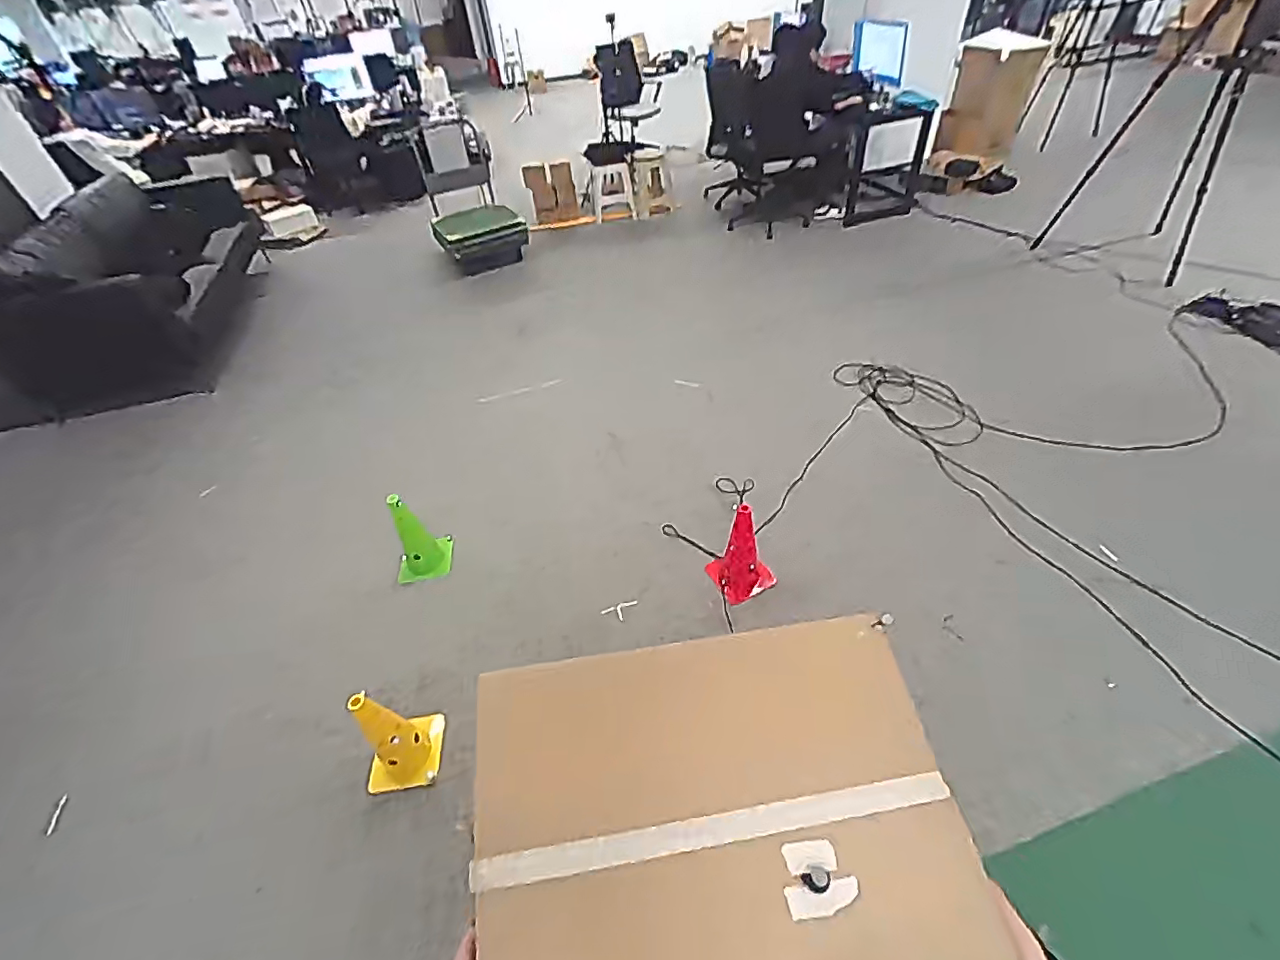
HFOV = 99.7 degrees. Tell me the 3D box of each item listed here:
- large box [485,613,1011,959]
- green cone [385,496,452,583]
[{"bbox_3d":[0.065,0.373,0.589,0.408,0.320,0.320,-7,58,-6],"label":"large box"},{"bbox_3d":[-0.871,0.194,2.037,0.200,0.368,0.202,-11,45,-4],"label":"green cone"}]
